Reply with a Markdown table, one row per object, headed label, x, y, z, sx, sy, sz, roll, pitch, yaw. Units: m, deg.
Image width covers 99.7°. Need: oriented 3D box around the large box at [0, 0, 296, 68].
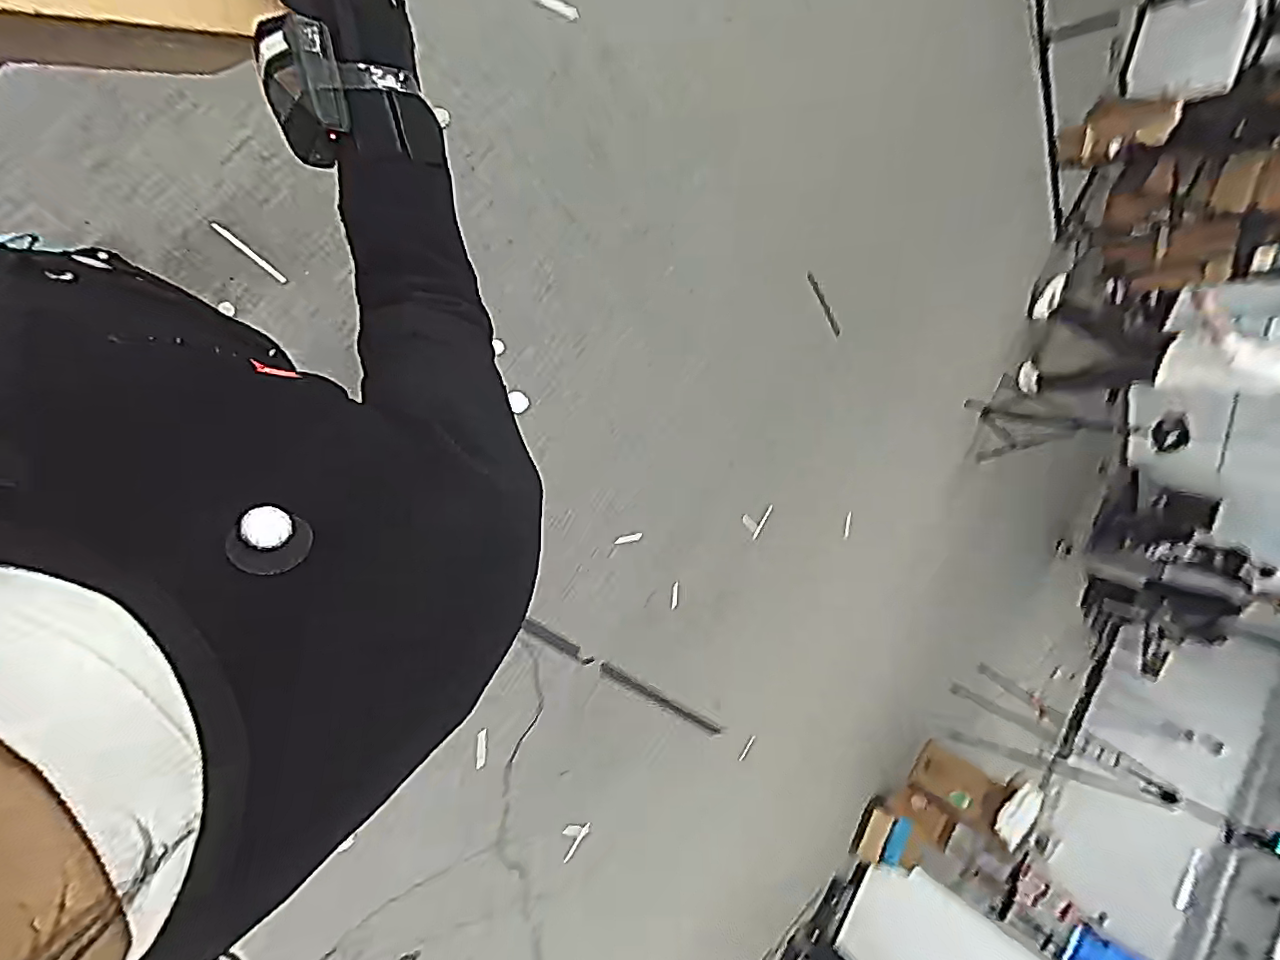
| label | x | y | z | sx | sy | sz | roll | pitch | yaw |
| --- | --- | --- | --- | --- | --- | --- | --- | --- | --- |
| large box | -0.464 | -0.405 | 0.247 | 0.408 | 0.320 | 0.320 | -25 | 131 | -36 |
